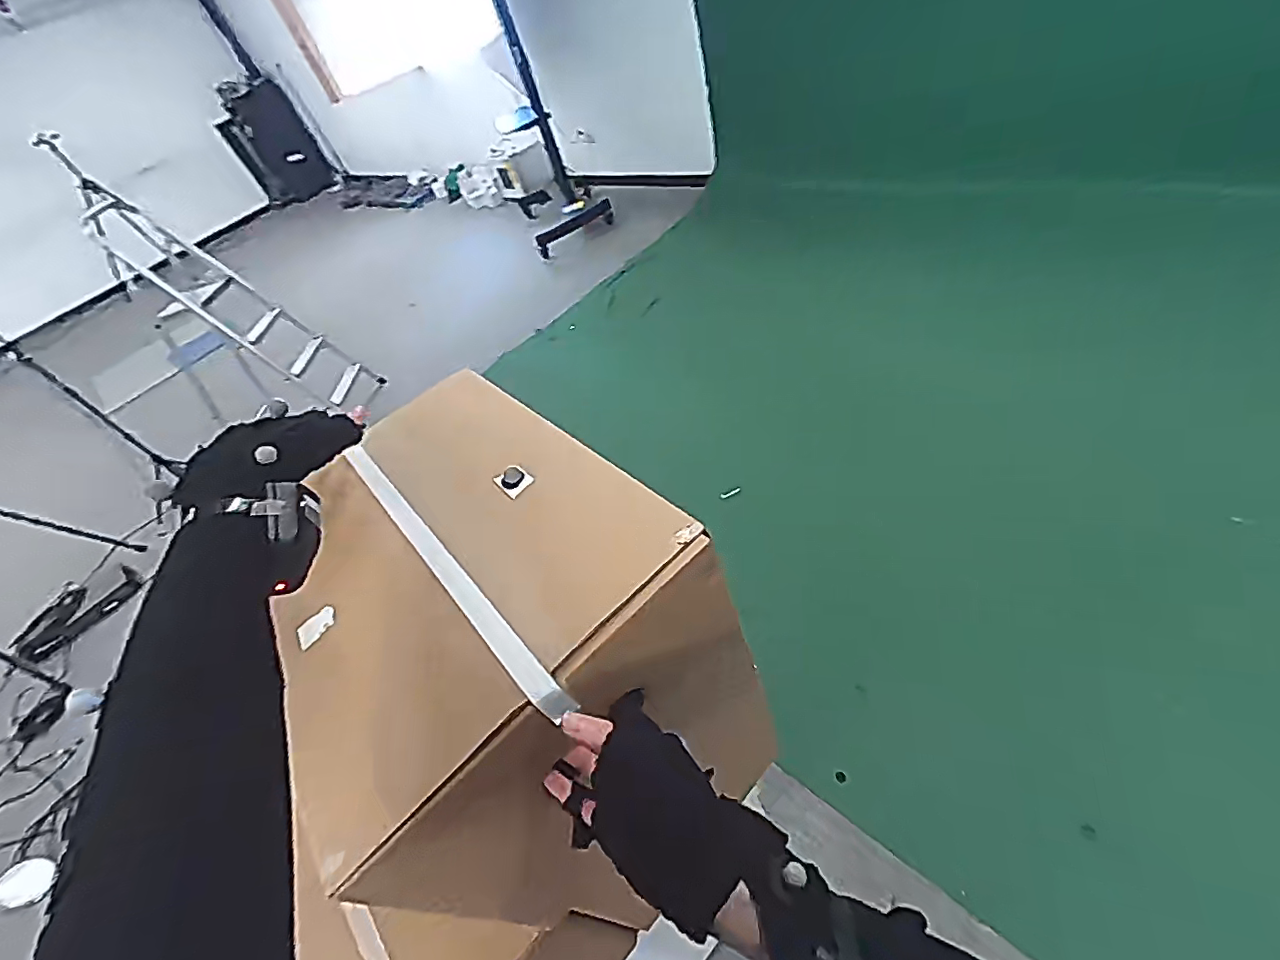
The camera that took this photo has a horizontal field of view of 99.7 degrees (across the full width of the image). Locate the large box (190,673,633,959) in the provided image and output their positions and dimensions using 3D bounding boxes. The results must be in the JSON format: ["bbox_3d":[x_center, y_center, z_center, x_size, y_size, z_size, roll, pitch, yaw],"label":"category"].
[{"bbox_3d":[-0.281,0.543,0.704,0.320,0.320,0.408,-43,47,-21],"label":"large box"}]
